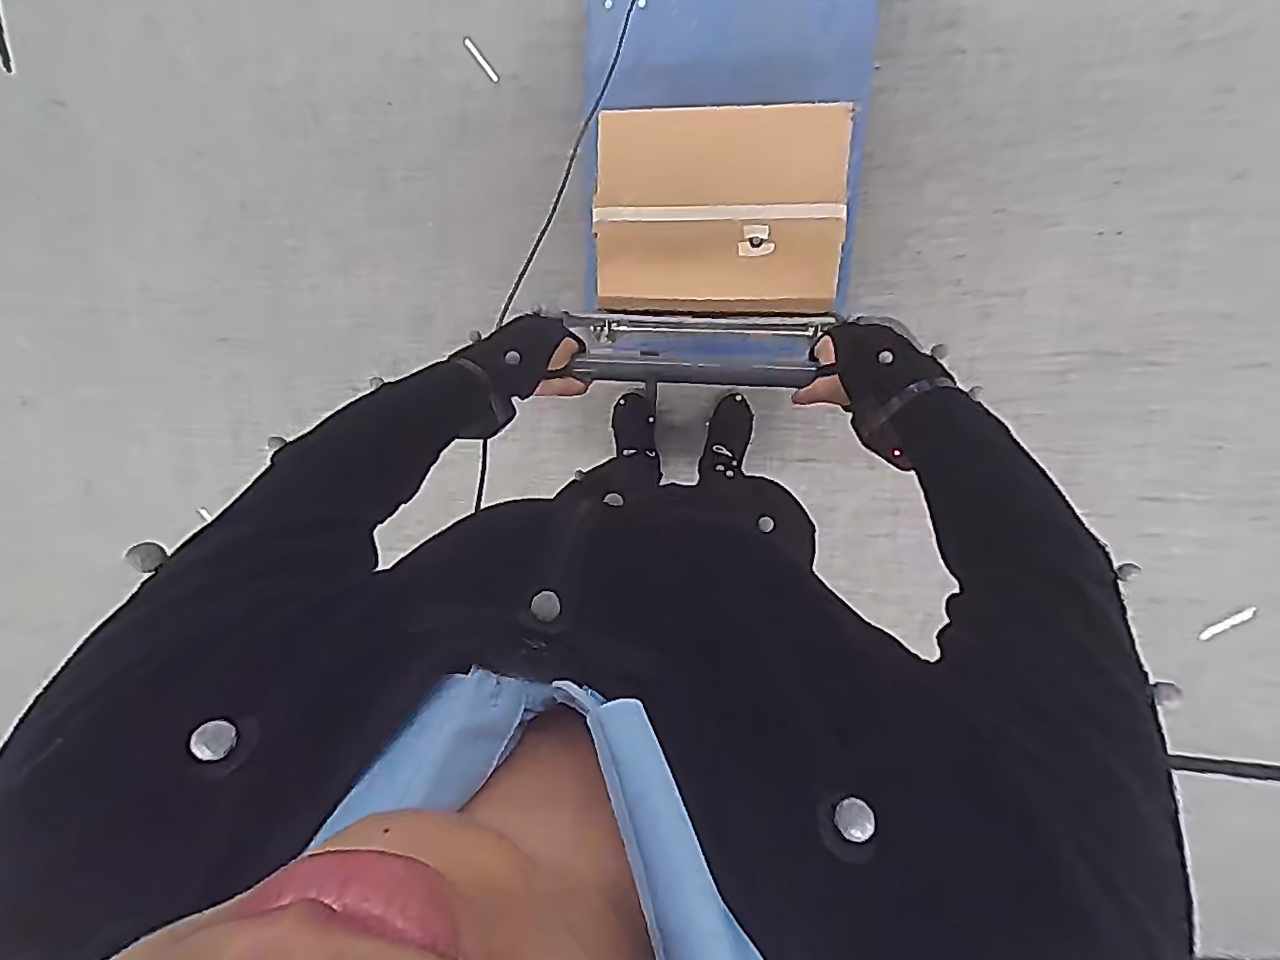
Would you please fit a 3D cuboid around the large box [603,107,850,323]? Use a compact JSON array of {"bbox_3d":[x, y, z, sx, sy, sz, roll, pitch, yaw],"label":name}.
[{"bbox_3d":[0.152,-0.476,1.050,0.408,0.320,0.320,3,104,7],"label":"large box"}]
